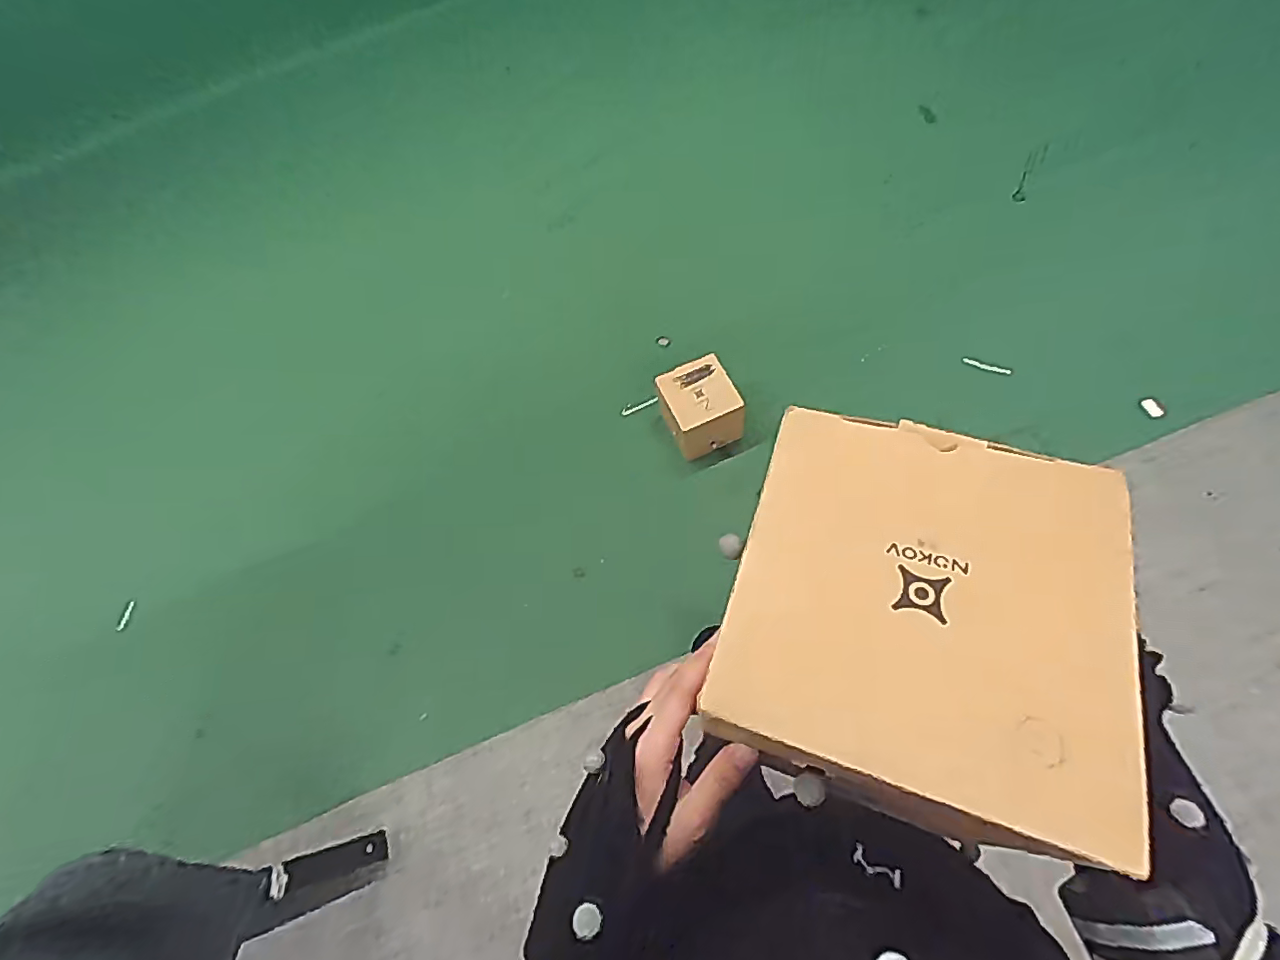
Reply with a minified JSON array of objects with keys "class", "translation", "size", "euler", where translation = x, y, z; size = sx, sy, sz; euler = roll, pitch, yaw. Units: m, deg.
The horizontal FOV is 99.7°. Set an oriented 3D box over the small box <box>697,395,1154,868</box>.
[{"class":"small box","translation":[0.141,0.083,0.311],"size":[0.168,0.176,0.179],"euler":[14,62,17]}]
